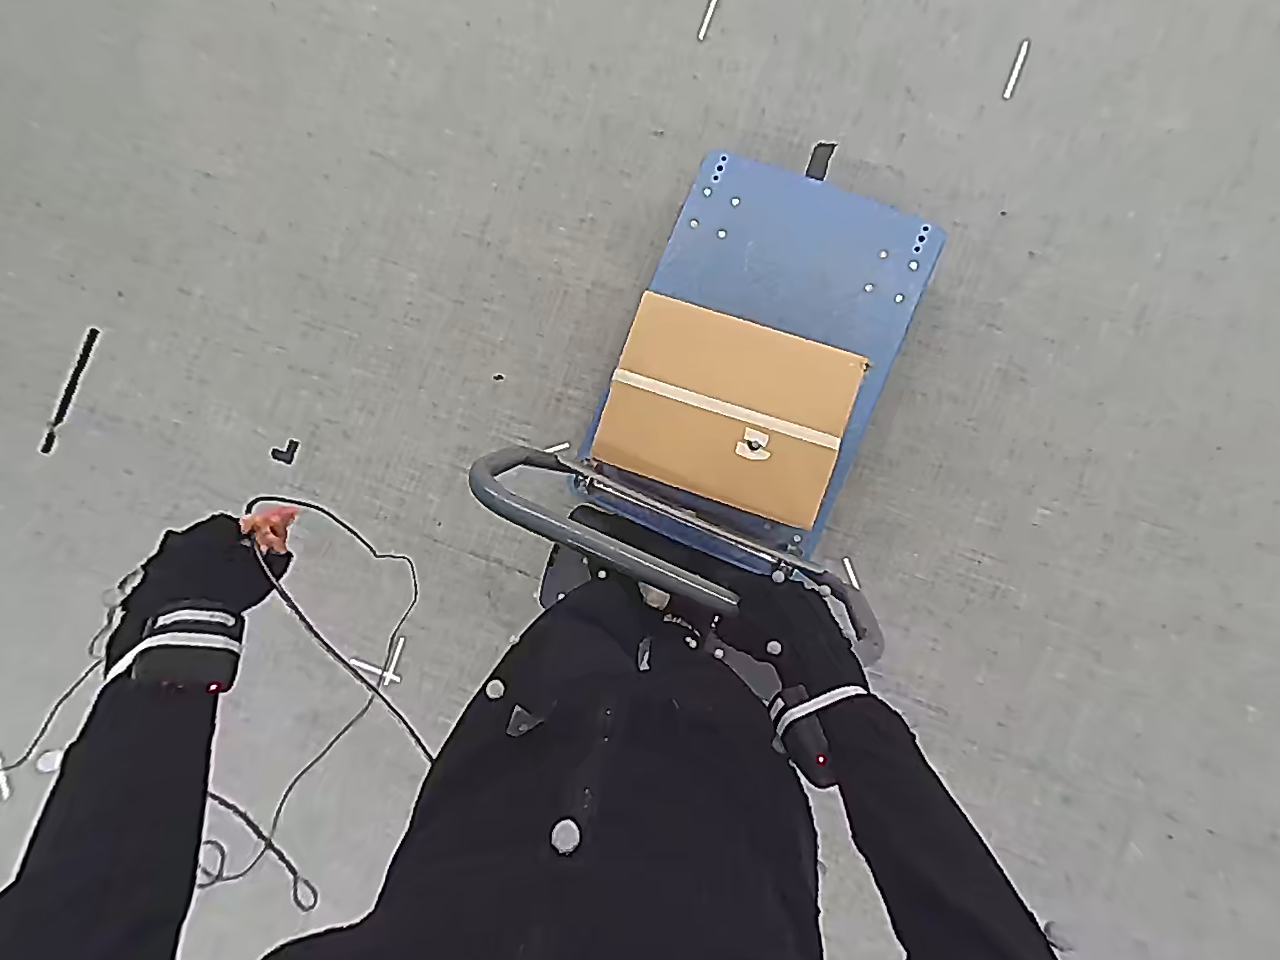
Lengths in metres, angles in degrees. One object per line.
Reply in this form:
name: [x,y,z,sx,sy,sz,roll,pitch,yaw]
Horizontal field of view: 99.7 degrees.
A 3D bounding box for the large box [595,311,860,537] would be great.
large box: [0.160,-0.096,1.103,0.408,0.320,0.320,19,90,5]
